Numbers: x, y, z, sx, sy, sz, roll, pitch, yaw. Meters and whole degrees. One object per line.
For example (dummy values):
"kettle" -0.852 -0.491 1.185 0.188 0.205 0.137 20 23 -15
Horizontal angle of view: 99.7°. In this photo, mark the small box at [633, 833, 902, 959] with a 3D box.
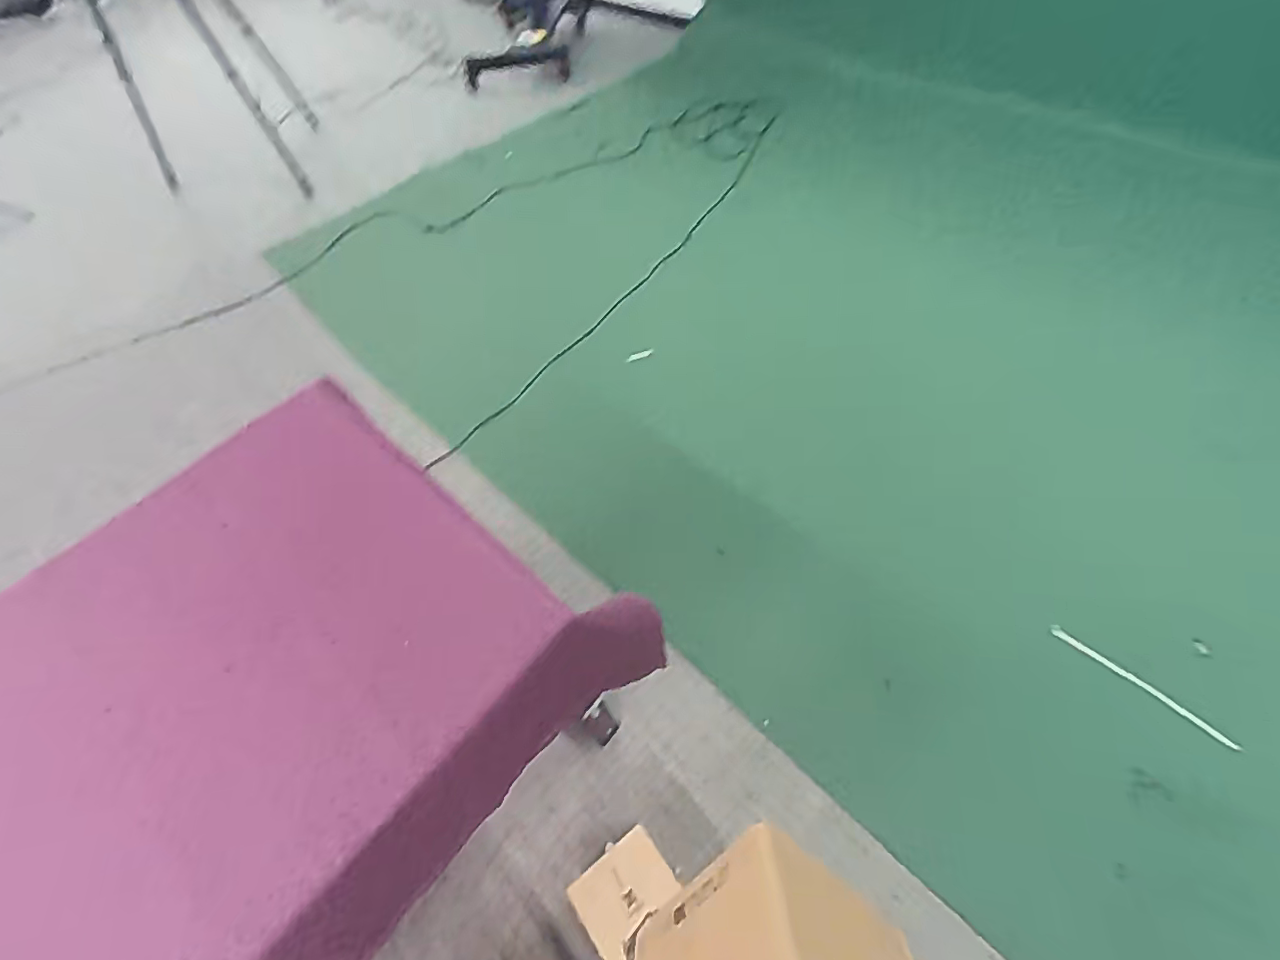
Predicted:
"small box" 0.105 0.416 0.399 0.179 0.176 0.168 41 101 -5

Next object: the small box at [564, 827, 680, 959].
"small box" -0.014 0.777 0.997 0.168 0.176 0.179 -34 59 -17
